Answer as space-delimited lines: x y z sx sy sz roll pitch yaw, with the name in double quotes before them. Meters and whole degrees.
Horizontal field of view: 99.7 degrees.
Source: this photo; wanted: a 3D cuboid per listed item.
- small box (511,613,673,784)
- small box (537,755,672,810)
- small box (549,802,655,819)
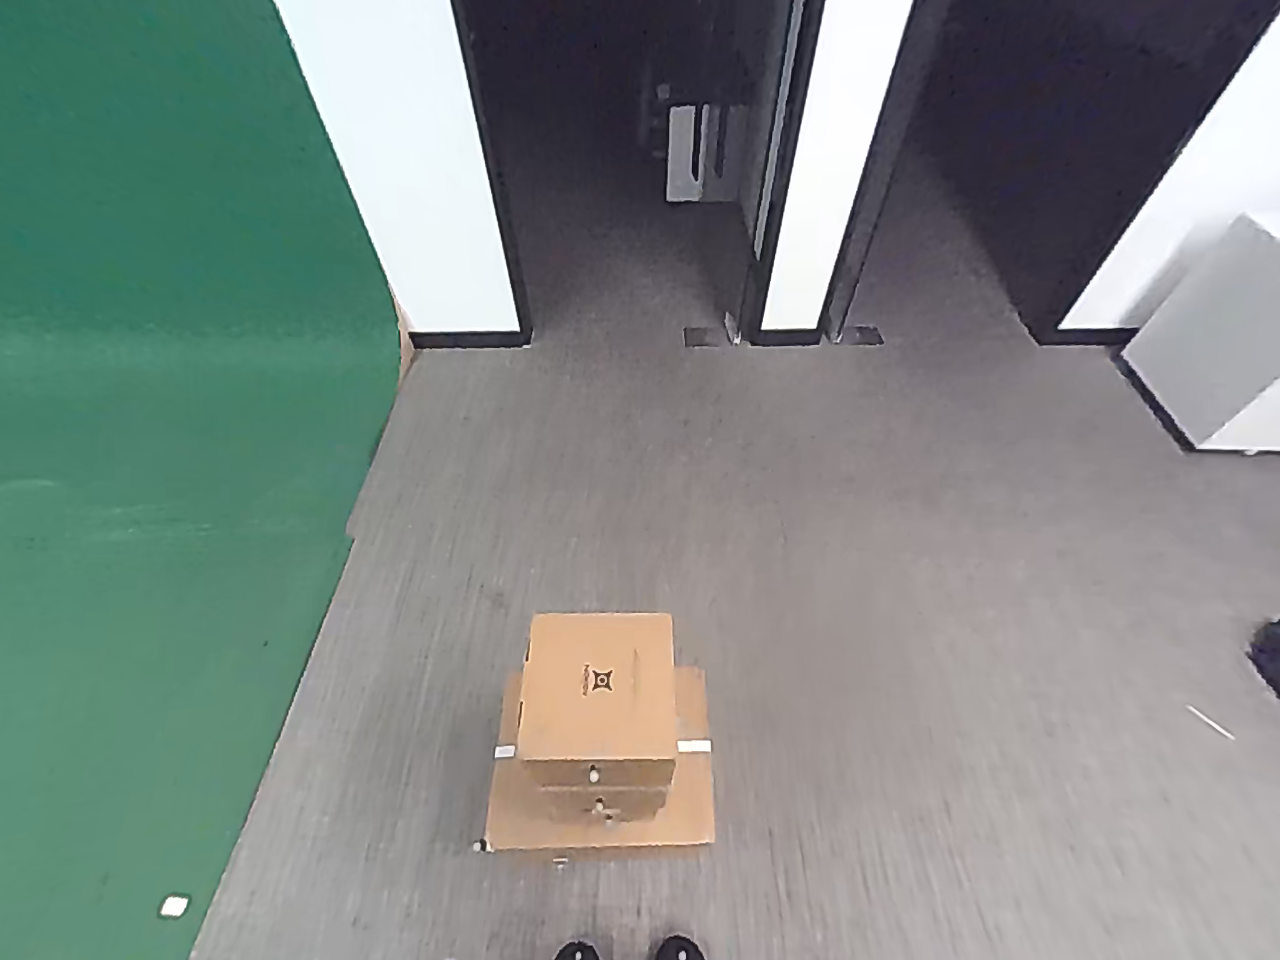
"small box" -0.051 0.279 0.684 0.179 0.176 0.168 0 53 -1
"small box" -0.051 0.385 0.807 0.179 0.176 0.168 -2 52 -3
"small box" -0.059 0.481 0.940 0.168 0.176 0.179 -2 53 -1
